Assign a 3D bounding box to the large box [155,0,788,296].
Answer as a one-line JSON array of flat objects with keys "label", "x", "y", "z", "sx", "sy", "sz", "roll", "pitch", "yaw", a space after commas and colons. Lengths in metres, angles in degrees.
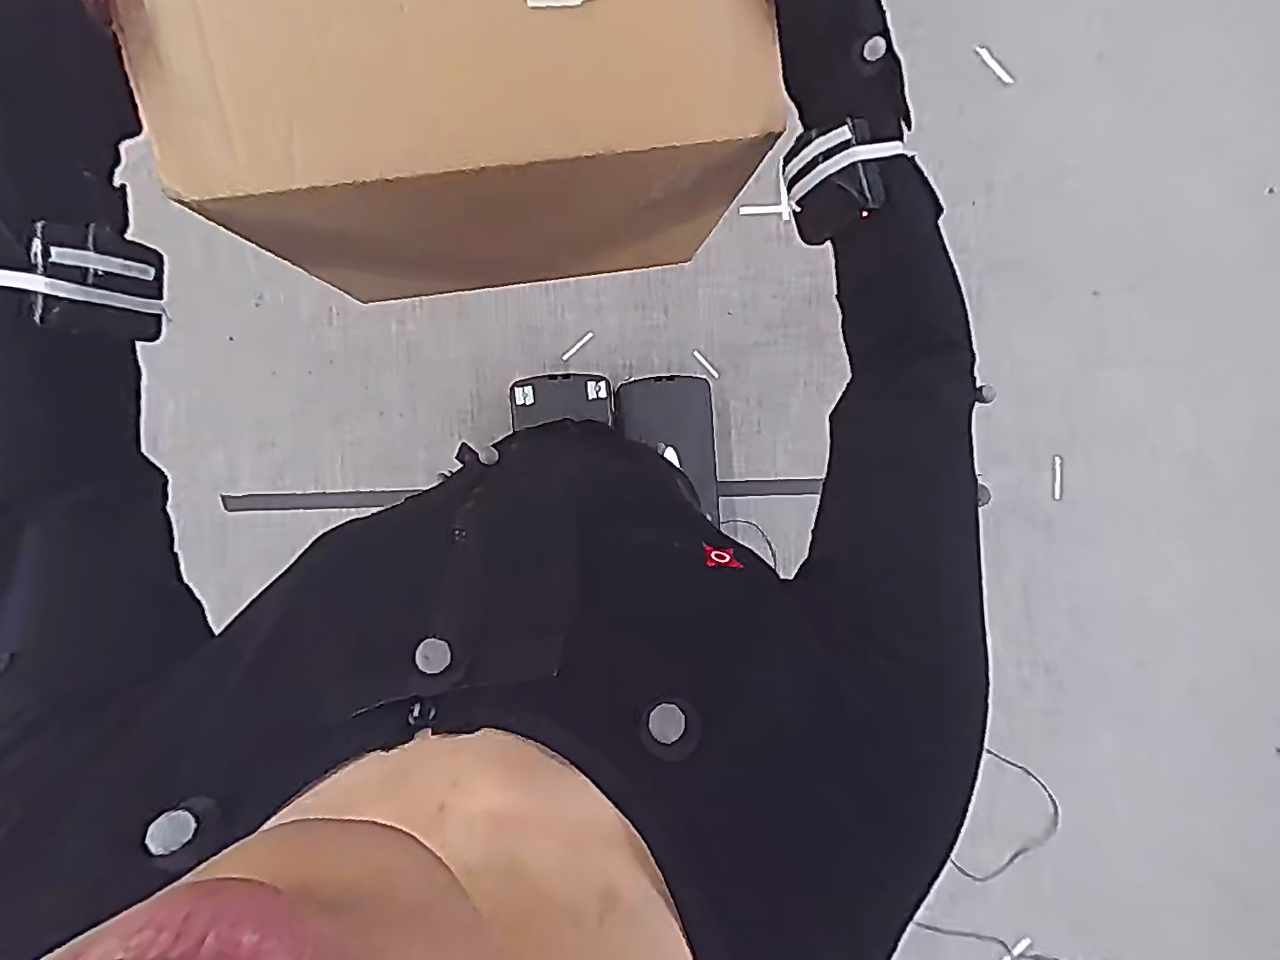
[{"label": "large box", "x": -0.131, "y": -0.384, "z": 0.495, "sx": 0.408, "sy": 0.320, "sz": 0.320, "roll": -10, "pitch": 98, "yaw": -6}]
